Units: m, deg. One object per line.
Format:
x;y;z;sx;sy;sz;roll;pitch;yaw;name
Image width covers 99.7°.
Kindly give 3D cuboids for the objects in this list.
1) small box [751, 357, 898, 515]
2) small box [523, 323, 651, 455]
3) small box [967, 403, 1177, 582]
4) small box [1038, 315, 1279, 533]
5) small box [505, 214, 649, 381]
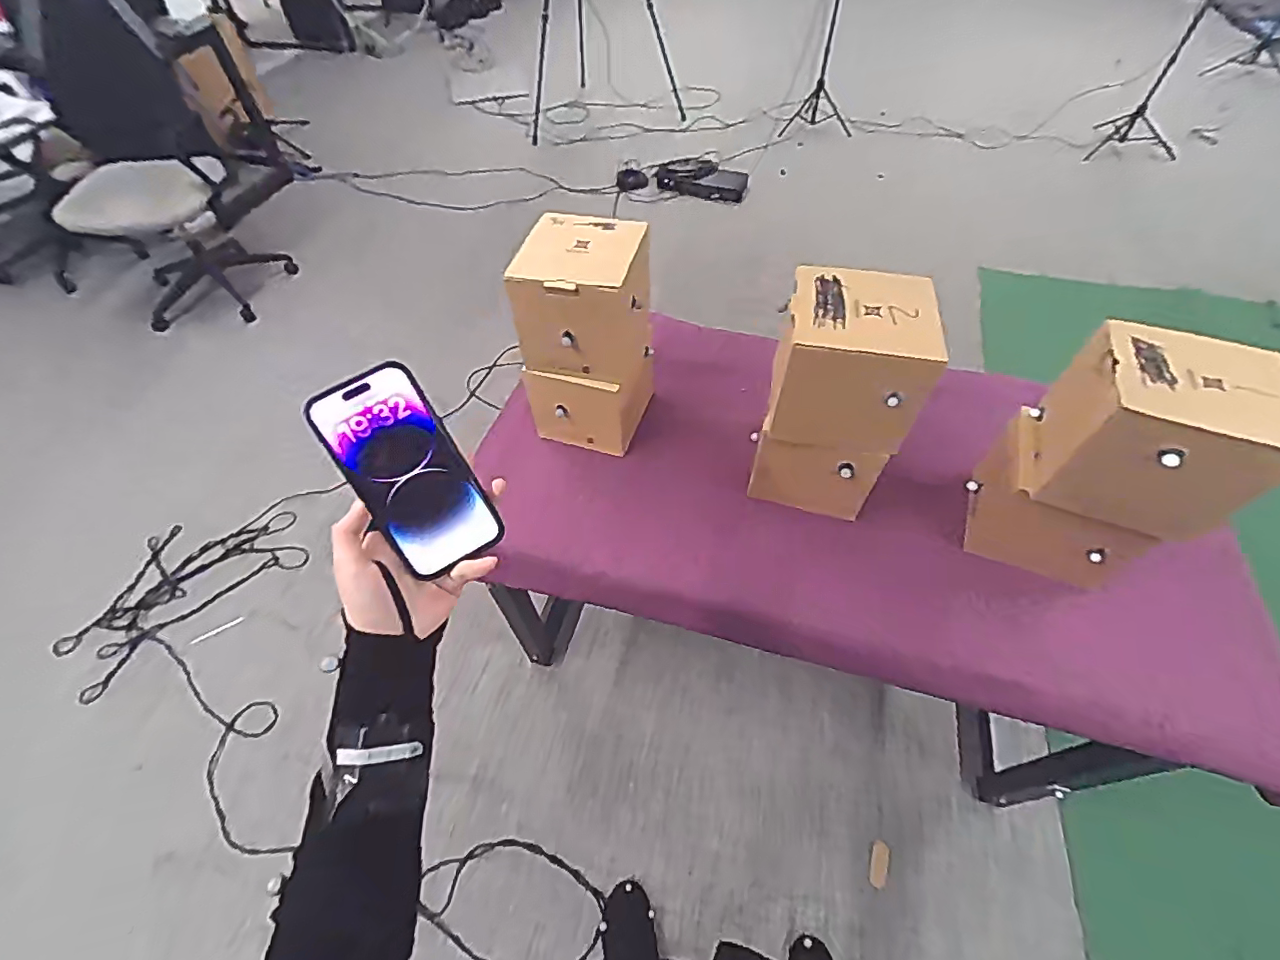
0.286;-0.065;0.855;0.179;0.176;0.168;13;54;12;small box
-0.079;-0.168;0.950;0.168;0.176;0.179;14;54;13;small box
0.605;0.023;0.776;0.179;0.176;0.168;19;55;16;small box
0.603;-0.062;0.636;0.179;0.176;0.168;19;55;15;small box
-0.082;-0.274;0.824;0.168;0.176;0.179;10;54;9;small box
